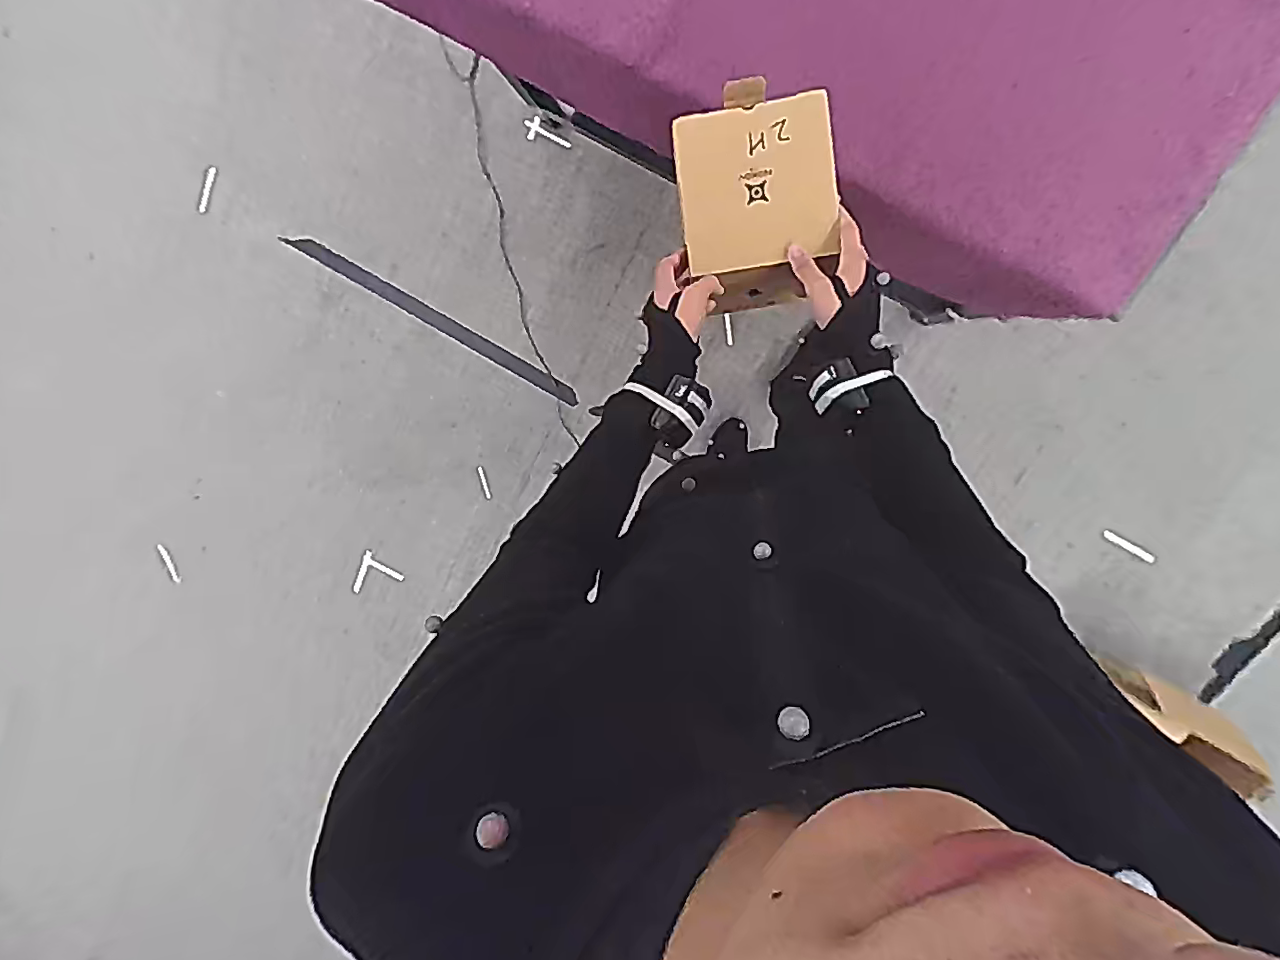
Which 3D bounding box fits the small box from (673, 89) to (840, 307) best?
[{"bbox_3d":[0.134,-0.323,0.662,0.168,0.176,0.179,-6,91,6],"label":"small box"}]
